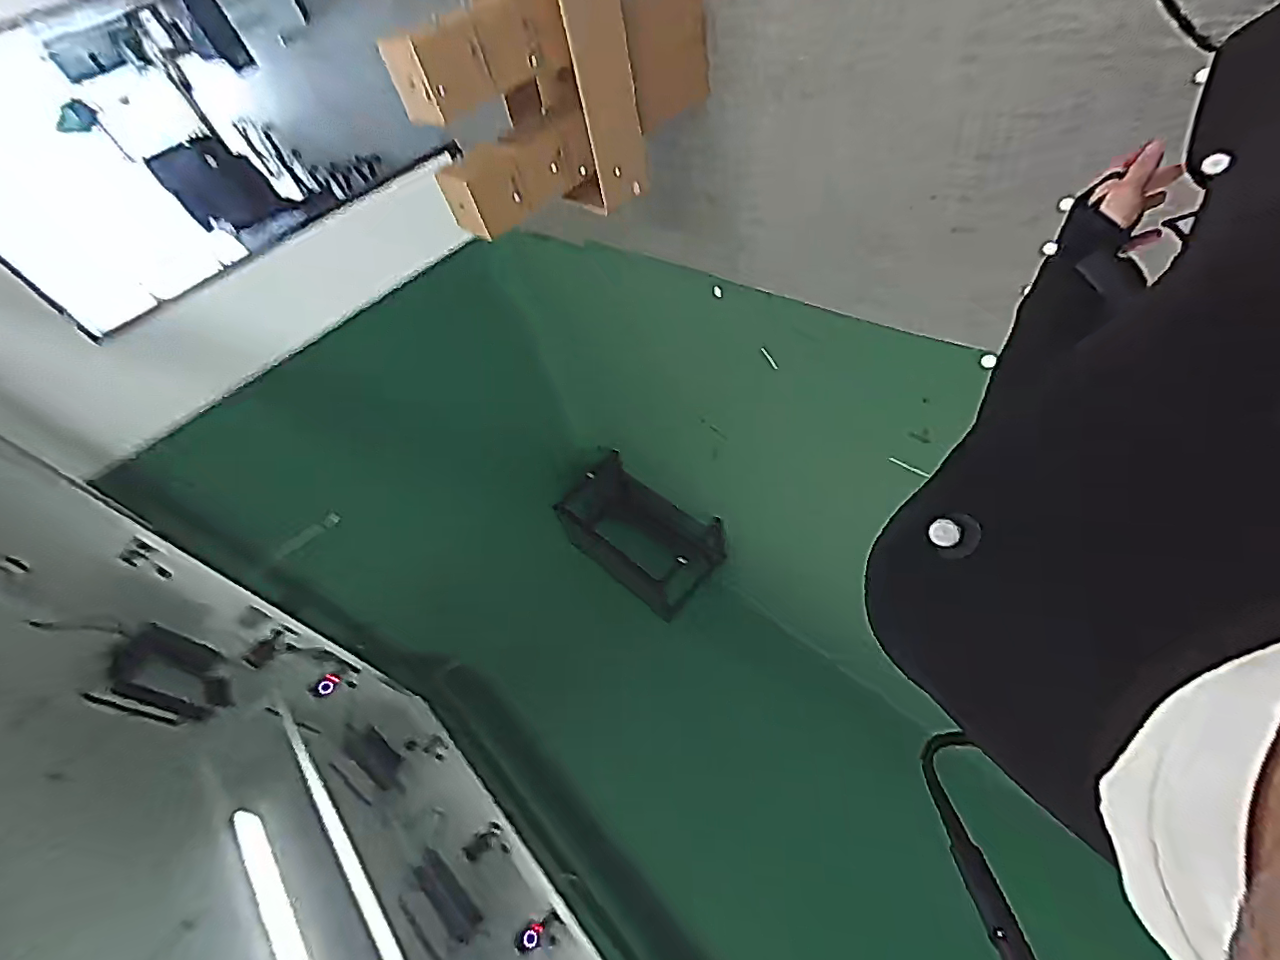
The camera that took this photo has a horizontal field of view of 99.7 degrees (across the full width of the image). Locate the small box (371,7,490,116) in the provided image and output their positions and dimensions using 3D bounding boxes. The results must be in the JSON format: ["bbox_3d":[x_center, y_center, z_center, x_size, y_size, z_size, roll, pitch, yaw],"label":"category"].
[{"bbox_3d":[-0.496,-1.006,1.298,0.179,0.176,0.168,32,155,33],"label":"small box"}]

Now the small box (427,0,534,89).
[{"bbox_3d":[-0.388,-1.115,1.359,0.179,0.176,0.168,32,155,33],"label":"small box"}]

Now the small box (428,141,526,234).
[{"bbox_3d":[-0.455,-0.833,1.533,0.179,0.176,0.168,34,156,32],"label":"small box"}]

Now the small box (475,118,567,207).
[{"bbox_3d":[-0.346,-0.938,1.592,0.179,0.176,0.168,33,156,33],"label":"small box"}]

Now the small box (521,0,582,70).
[{"bbox_3d":[-0.280,-1.219,1.426,0.179,0.176,0.168,34,156,29],"label":"small box"}]
